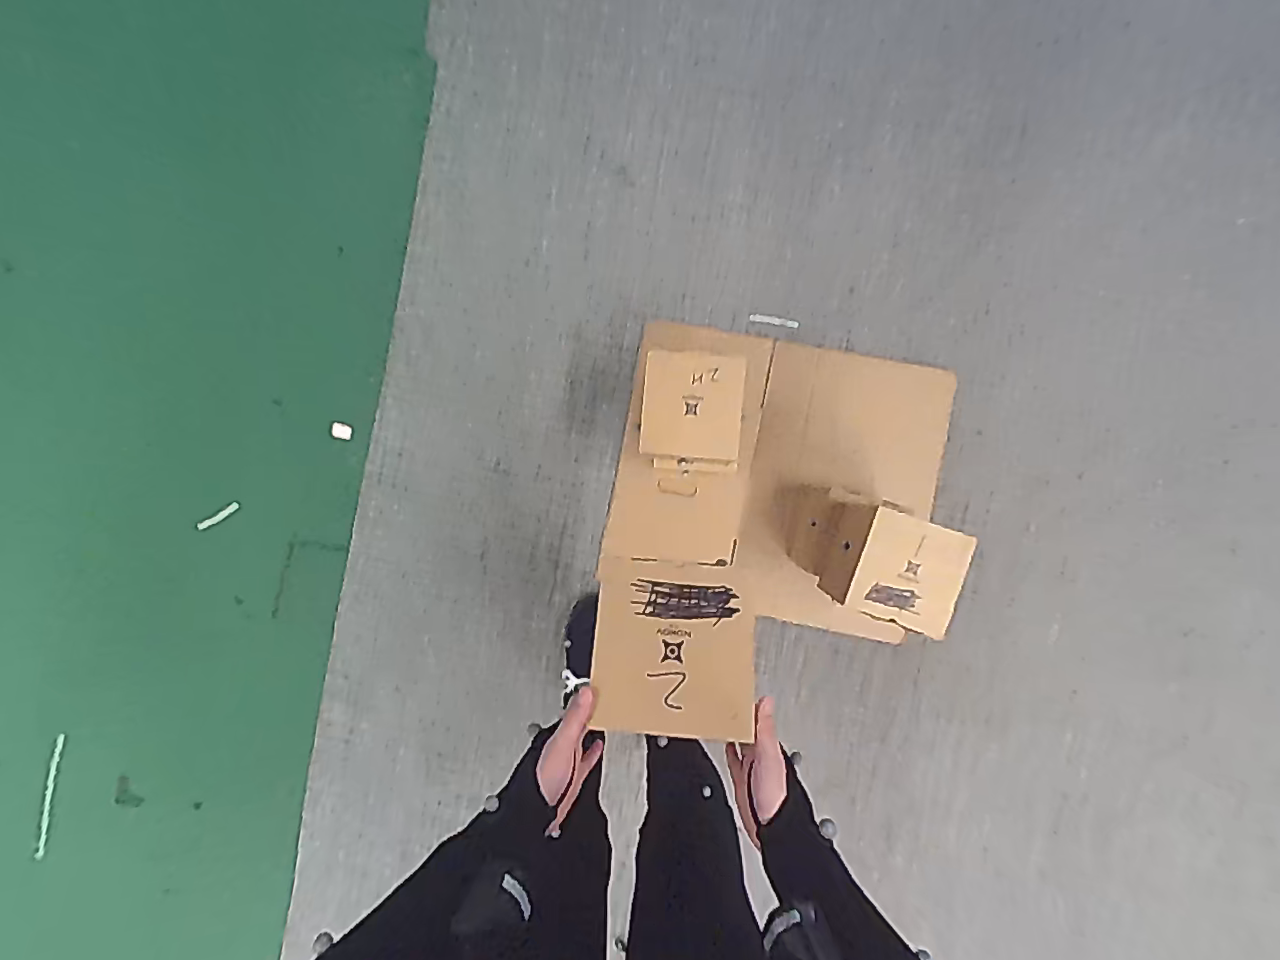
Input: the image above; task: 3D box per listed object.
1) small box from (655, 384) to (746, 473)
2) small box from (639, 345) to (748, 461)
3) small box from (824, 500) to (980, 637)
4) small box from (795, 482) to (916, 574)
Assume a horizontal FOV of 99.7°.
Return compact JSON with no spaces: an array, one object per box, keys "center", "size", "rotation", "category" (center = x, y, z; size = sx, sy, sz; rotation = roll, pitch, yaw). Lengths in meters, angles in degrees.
[{"center":[0.122,-0.110,1.125],"size":[0.168,0.176,0.179],"rotation":[4,90,4],"category":"small box"},{"center":[0.093,-0.128,0.961],"size":[0.168,0.176,0.179],"rotation":[5,90,3],"category":"small box"},{"center":[0.436,0.142,0.933],"size":[0.168,0.176,0.179],"rotation":[20,90,4],"category":"small box"},{"center":[0.426,0.110,1.099],"size":[0.168,0.176,0.179],"rotation":[15,90,5],"category":"small box"}]
